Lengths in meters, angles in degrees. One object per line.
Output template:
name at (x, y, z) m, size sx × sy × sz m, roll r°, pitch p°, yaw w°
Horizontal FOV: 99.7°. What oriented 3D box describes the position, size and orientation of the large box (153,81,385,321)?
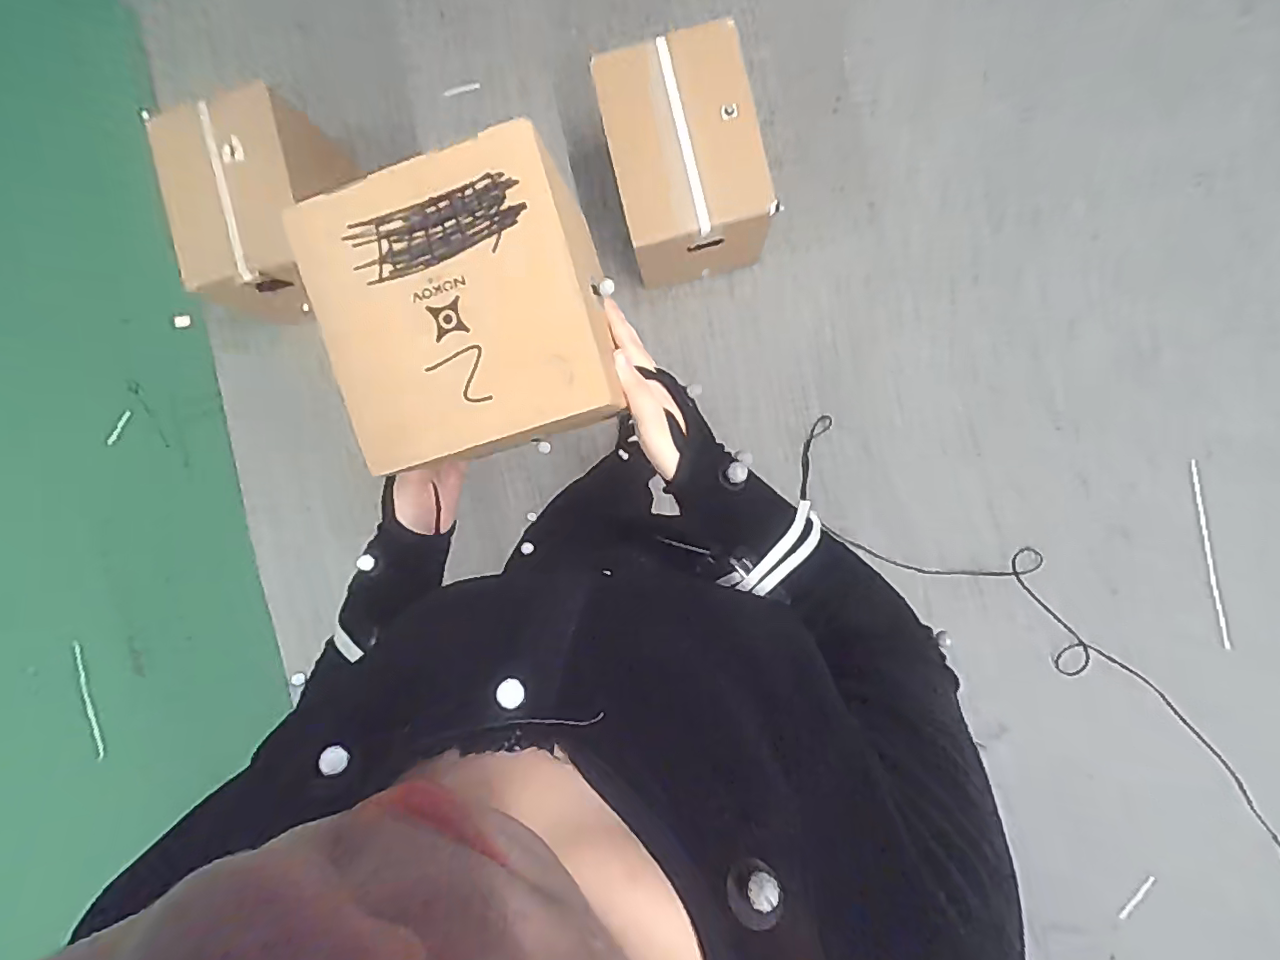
large box at (-0.912, -0.670, 1.373) m, size 0.320 × 0.320 × 0.408 m, roll -12°, pitch 91°, yaw 6°
